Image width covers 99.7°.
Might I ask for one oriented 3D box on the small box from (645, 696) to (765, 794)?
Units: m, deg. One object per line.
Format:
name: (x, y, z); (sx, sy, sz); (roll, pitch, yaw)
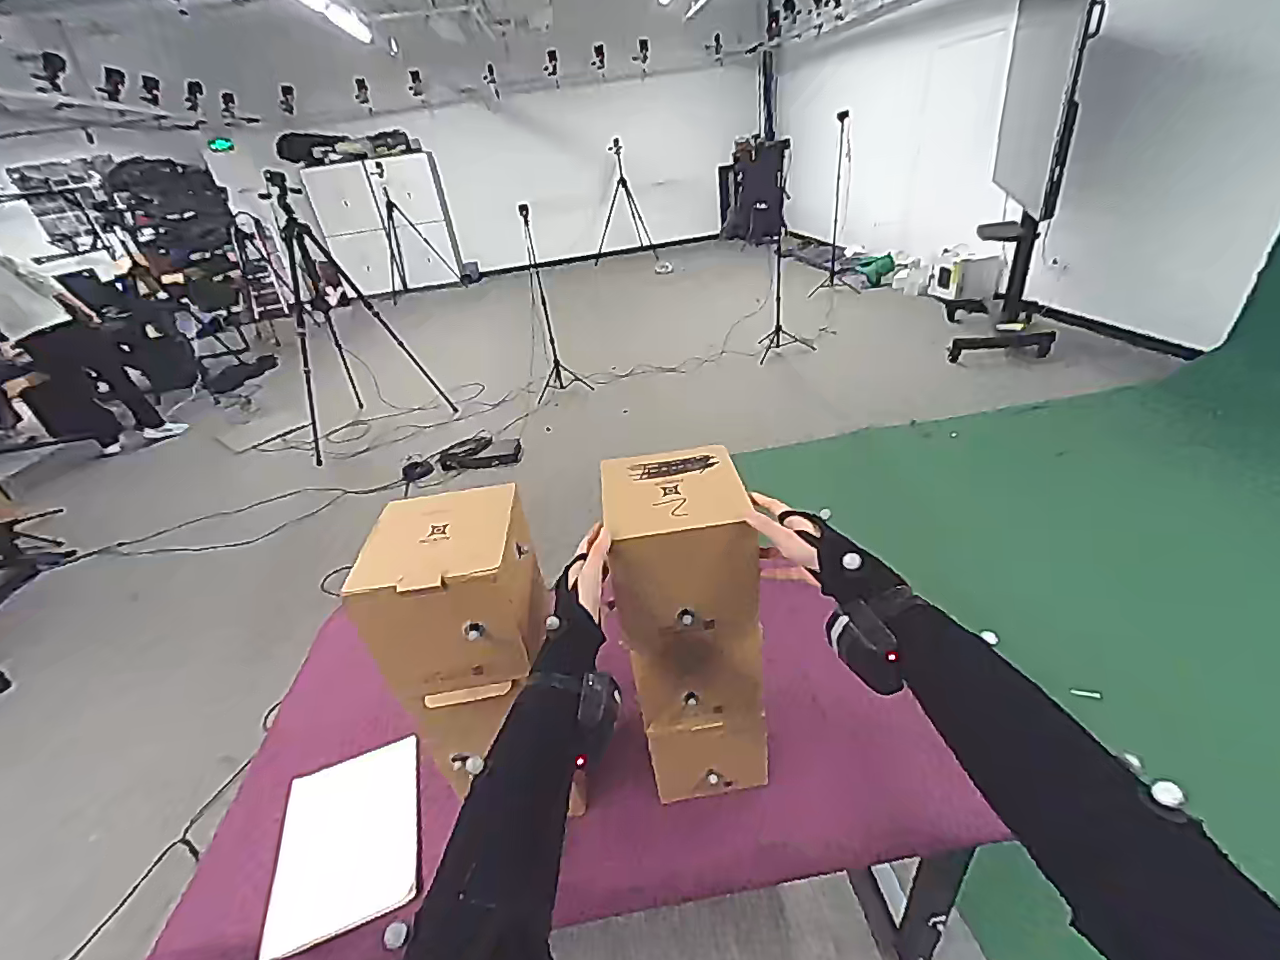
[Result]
small box: (0.093, 0.352, 0.849); (0.168, 0.176, 0.179); (-10, 31, 0)

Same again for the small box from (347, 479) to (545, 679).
small box: (-0.218, 0.124, 0.666); (0.168, 0.176, 0.179); (-8, 31, -1)

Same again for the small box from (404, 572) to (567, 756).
small box: (-0.199, 0.259, 0.756); (0.168, 0.176, 0.179); (-9, 31, -1)

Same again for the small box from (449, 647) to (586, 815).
small box: (-0.180, 0.395, 0.847); (0.168, 0.176, 0.179); (-9, 32, -2)

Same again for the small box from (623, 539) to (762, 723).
small box: (0.070, 0.211, 0.771); (0.168, 0.176, 0.179); (-9, 31, -1)
